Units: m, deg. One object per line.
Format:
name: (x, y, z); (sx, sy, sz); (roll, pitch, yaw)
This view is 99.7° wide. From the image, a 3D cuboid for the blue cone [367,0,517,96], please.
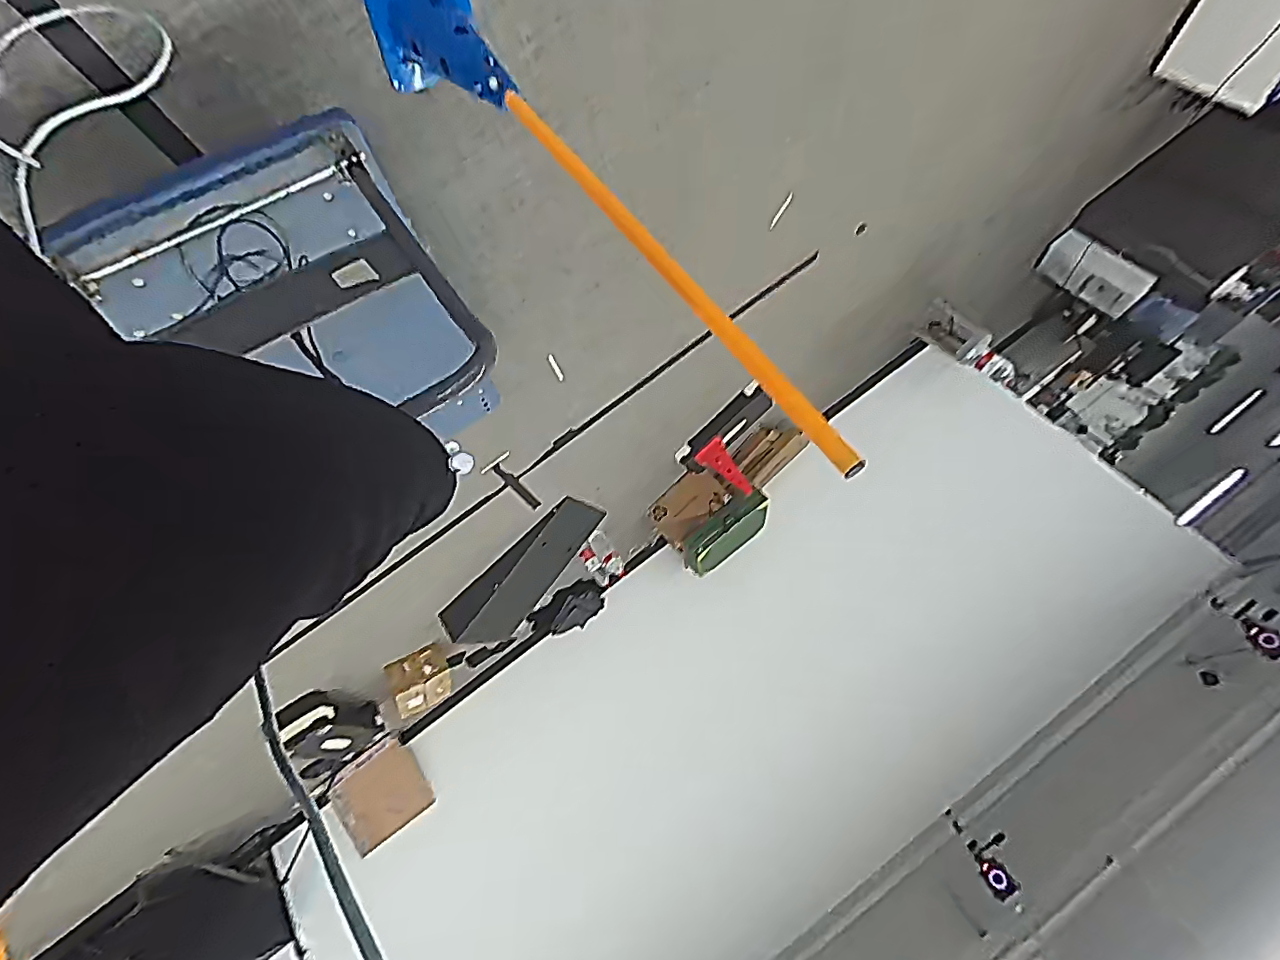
blue cone: (-0.319, -0.768, 0.961); (0.193, 0.380, 0.192); (-30, 153, -19)
